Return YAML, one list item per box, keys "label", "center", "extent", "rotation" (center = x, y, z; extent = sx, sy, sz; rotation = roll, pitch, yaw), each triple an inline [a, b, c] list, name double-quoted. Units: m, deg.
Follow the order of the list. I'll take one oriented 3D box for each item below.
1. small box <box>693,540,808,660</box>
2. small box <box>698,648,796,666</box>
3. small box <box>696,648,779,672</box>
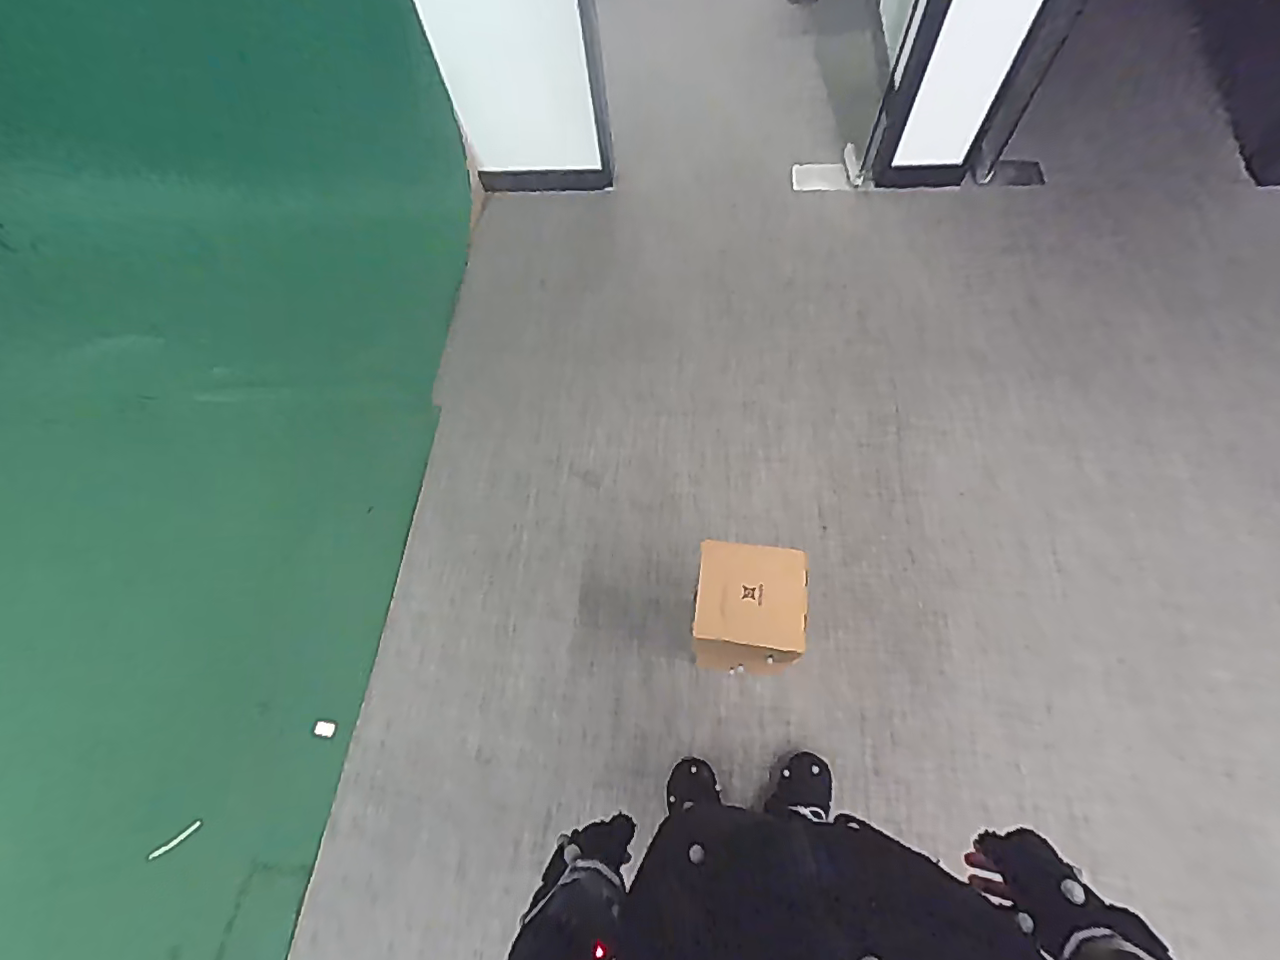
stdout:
- label: "small box"
  center: [0.189, 0.215, 0.948]
  extent: [0.179, 0.176, 0.168]
  rotation: [5, 66, 9]
- label: "small box"
  center: [0.215, 0.279, 1.096]
  extent: [0.179, 0.176, 0.168]
  rotation: [6, 67, 8]
- label: "small box"
  center: [0.228, 0.339, 1.245]
  extent: [0.179, 0.176, 0.168]
  rotation: [8, 66, 9]
